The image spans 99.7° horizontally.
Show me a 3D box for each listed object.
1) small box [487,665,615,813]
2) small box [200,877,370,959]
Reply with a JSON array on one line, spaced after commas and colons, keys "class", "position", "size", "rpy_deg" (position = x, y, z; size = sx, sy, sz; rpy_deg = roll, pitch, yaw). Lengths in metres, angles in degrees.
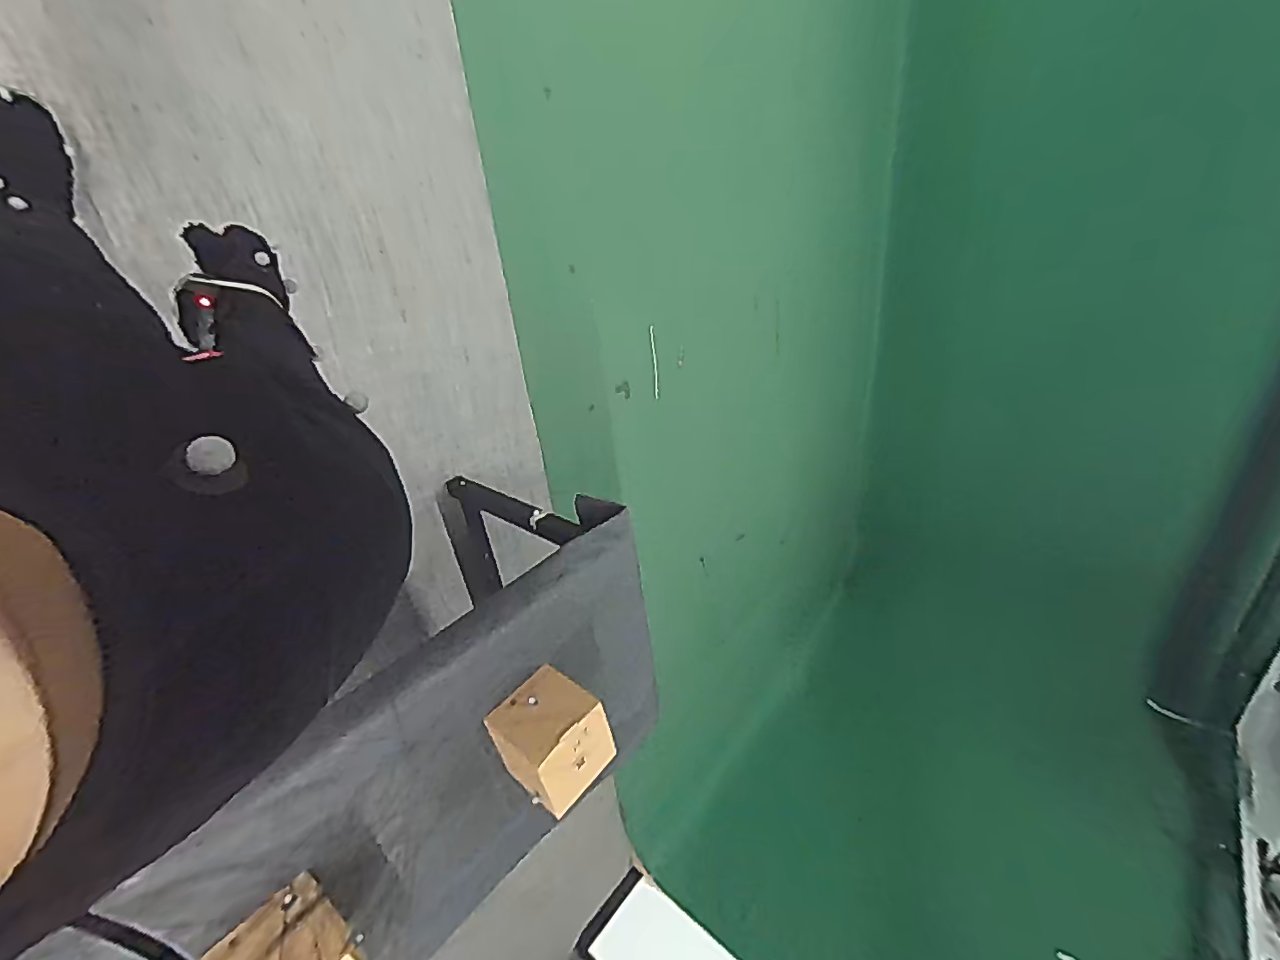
[{"class": "small box", "position": [-0.178, 0.510, 1.089], "size": [0.168, 0.176, 0.179], "rpy_deg": [-37, 130, -37]}, {"class": "small box", "position": [-0.501, 0.728, 0.781], "size": [0.168, 0.176, 0.179], "rpy_deg": [-33, 128, -39]}]
